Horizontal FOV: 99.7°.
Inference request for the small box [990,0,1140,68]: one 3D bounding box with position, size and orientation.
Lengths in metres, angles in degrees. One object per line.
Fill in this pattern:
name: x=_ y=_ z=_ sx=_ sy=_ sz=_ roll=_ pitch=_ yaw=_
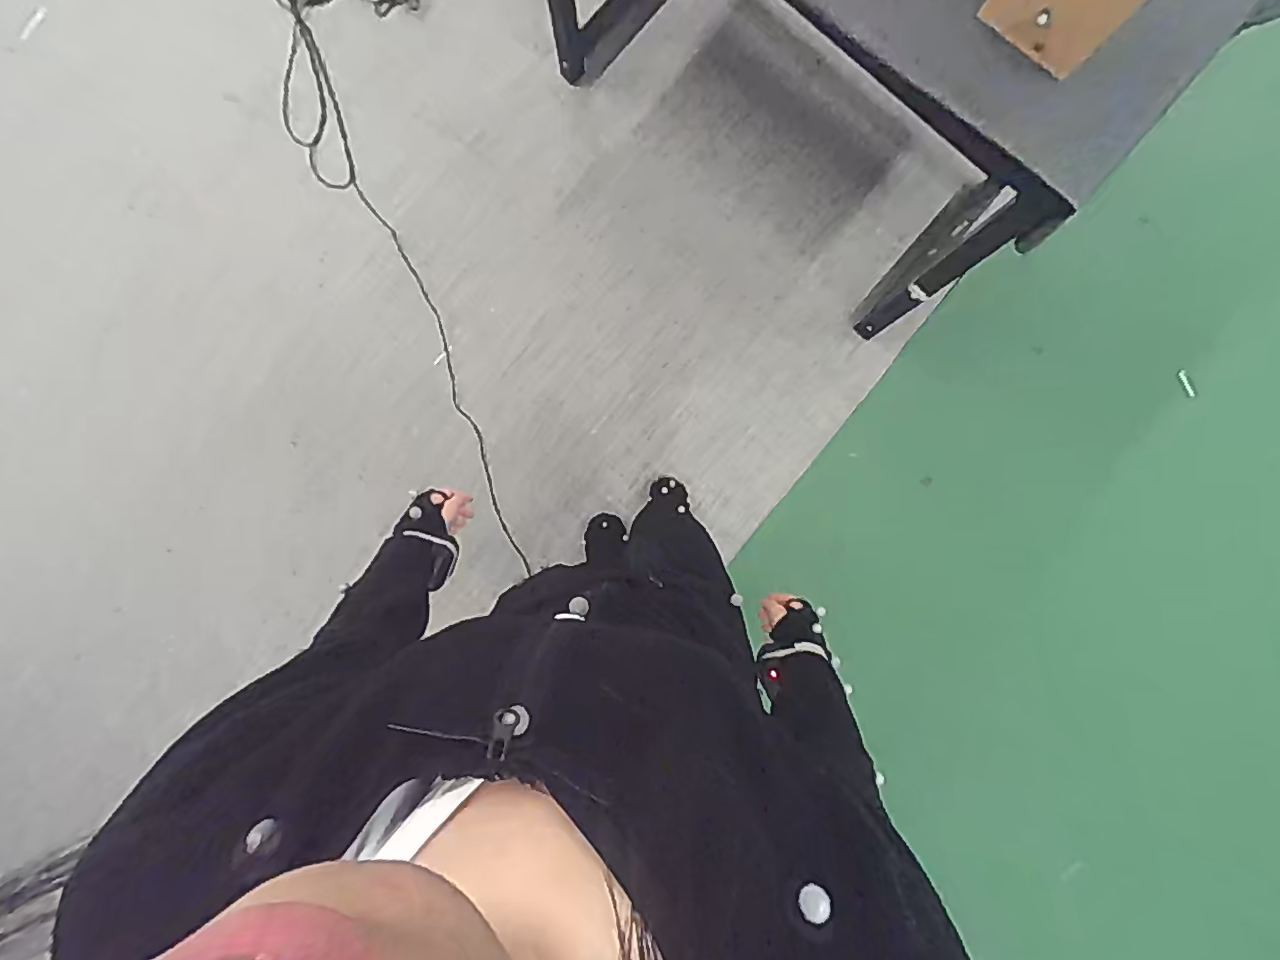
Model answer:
small box: x=0.626 y=-0.725 z=0.728 sx=0.168 sy=0.176 sz=0.179 roll=39 pitch=88 yaw=3
